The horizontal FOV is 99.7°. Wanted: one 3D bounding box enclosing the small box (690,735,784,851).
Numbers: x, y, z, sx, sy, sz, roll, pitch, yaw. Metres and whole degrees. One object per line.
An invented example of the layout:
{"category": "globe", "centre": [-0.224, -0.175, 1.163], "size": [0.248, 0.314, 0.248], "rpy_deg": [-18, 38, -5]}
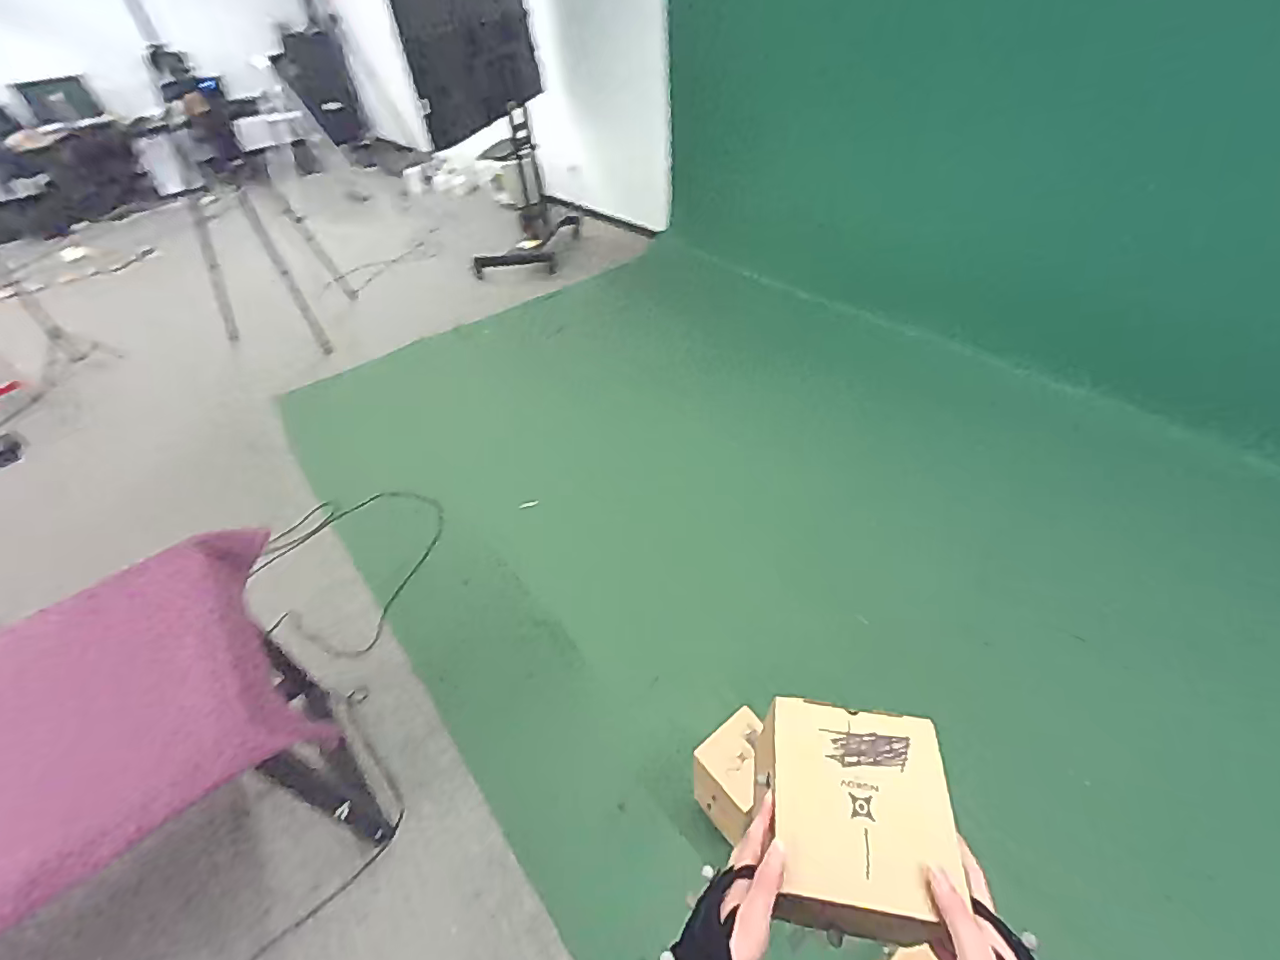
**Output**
{"category": "small box", "centre": [0.249, 0.812, 1.400], "size": [0.179, 0.176, 0.168], "rpy_deg": [-30, 48, -26]}

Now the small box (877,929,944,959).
{"category": "small box", "centre": [0.556, 1.069, 1.096], "size": [0.179, 0.176, 0.168], "rpy_deg": [-30, 49, -24]}
